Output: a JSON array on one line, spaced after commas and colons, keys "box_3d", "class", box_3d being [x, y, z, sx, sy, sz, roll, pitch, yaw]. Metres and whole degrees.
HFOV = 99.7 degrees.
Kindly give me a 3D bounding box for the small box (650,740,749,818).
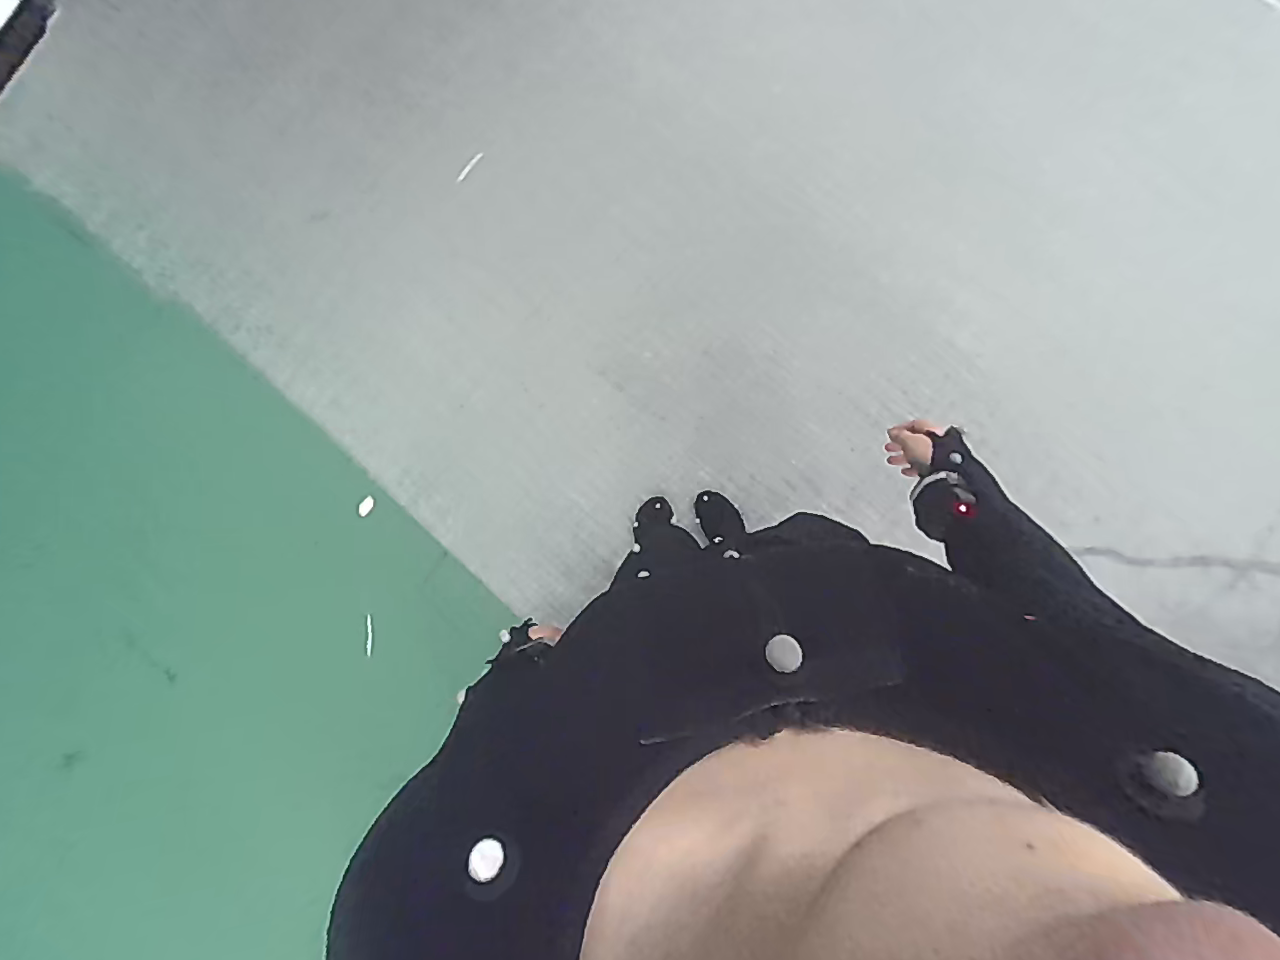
[{"box_3d": [0.147, 0.775, 1.315, 0.179, 0.176, 0.168, 42, 91, 7], "class": "small box"}]
